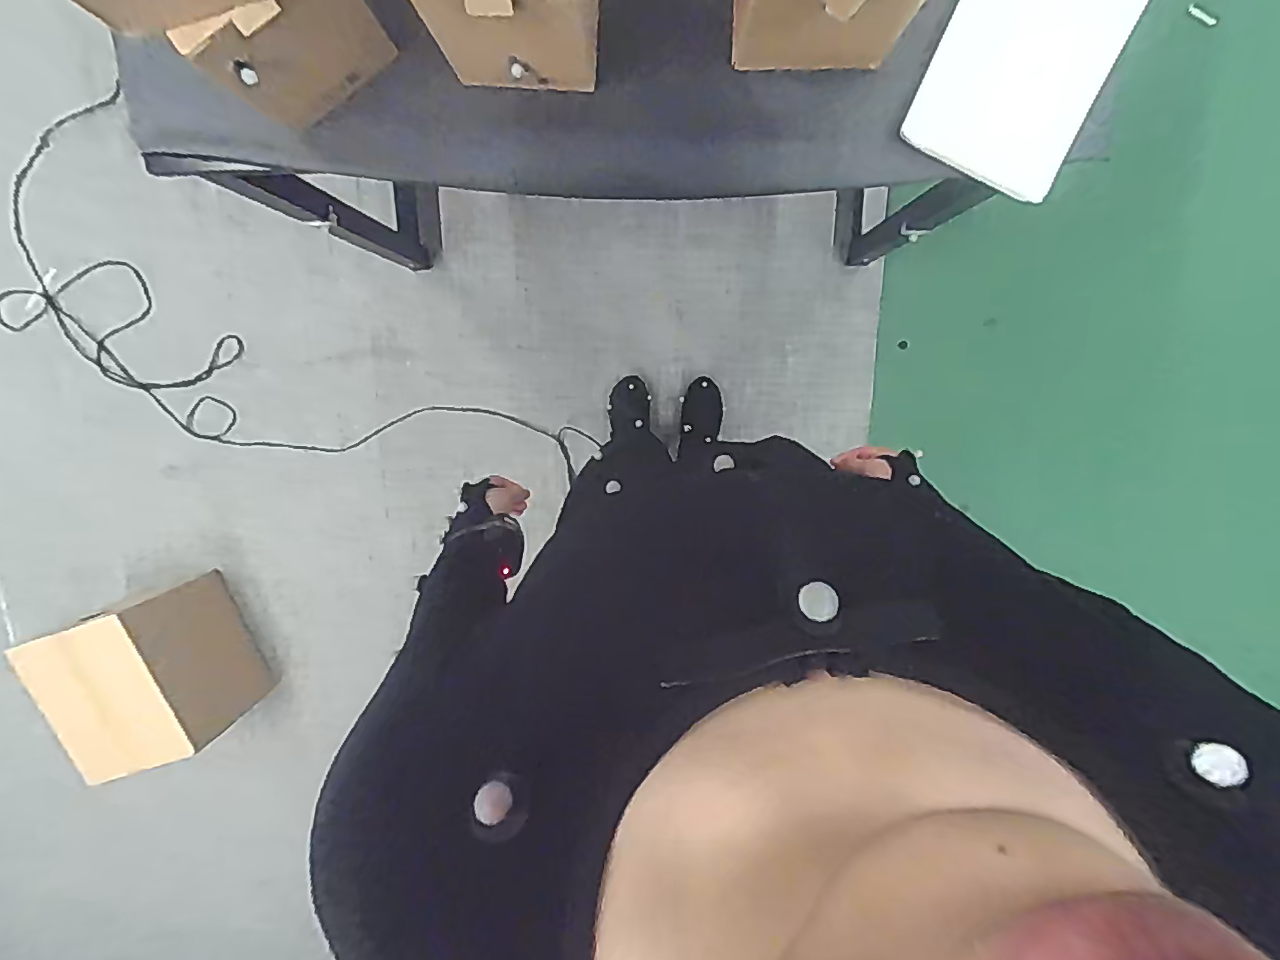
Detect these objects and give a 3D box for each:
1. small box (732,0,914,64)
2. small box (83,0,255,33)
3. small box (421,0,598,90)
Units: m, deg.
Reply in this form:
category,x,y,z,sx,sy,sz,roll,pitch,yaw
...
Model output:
category,x,y,z,sx,sy,sz,roll,pitch,yaw
small box,0.195,-0.564,0.554,0.179,0.176,0.168,0,100,3
small box,-0.425,-0.502,0.419,0.179,0.176,0.168,-13,99,5
small box,-0.136,-0.553,0.566,0.168,0.176,0.179,4,100,2
